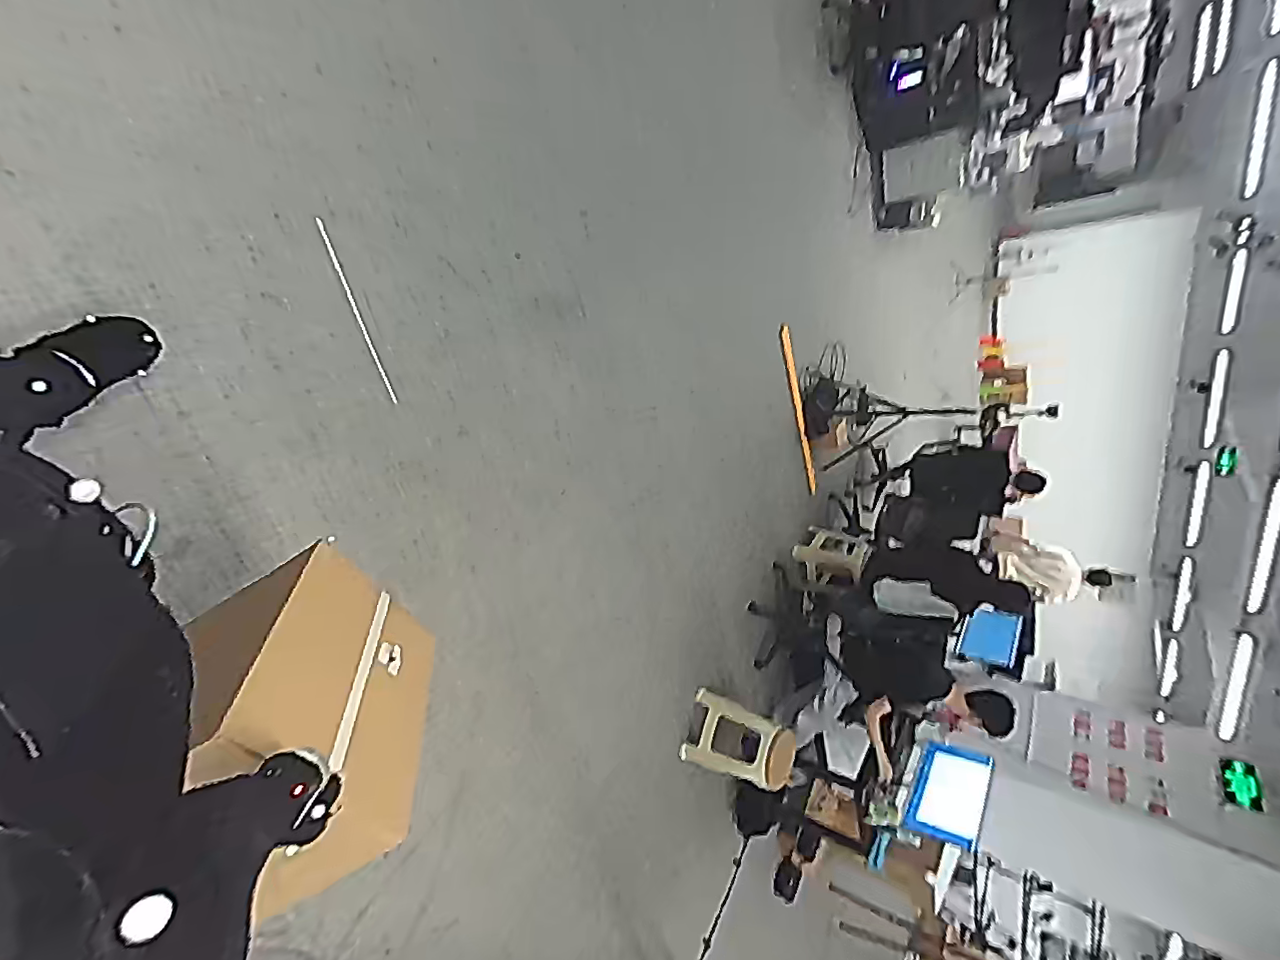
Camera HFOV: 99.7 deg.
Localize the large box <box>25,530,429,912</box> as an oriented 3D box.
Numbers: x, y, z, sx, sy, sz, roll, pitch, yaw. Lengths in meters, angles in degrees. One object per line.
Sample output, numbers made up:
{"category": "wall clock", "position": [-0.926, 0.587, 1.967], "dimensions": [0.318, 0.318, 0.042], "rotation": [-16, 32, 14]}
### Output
{"category": "large box", "position": [-0.586, 0.364, 0.874], "dimensions": [0.320, 0.408, 0.320], "rotation": [-31, 120, 2]}
